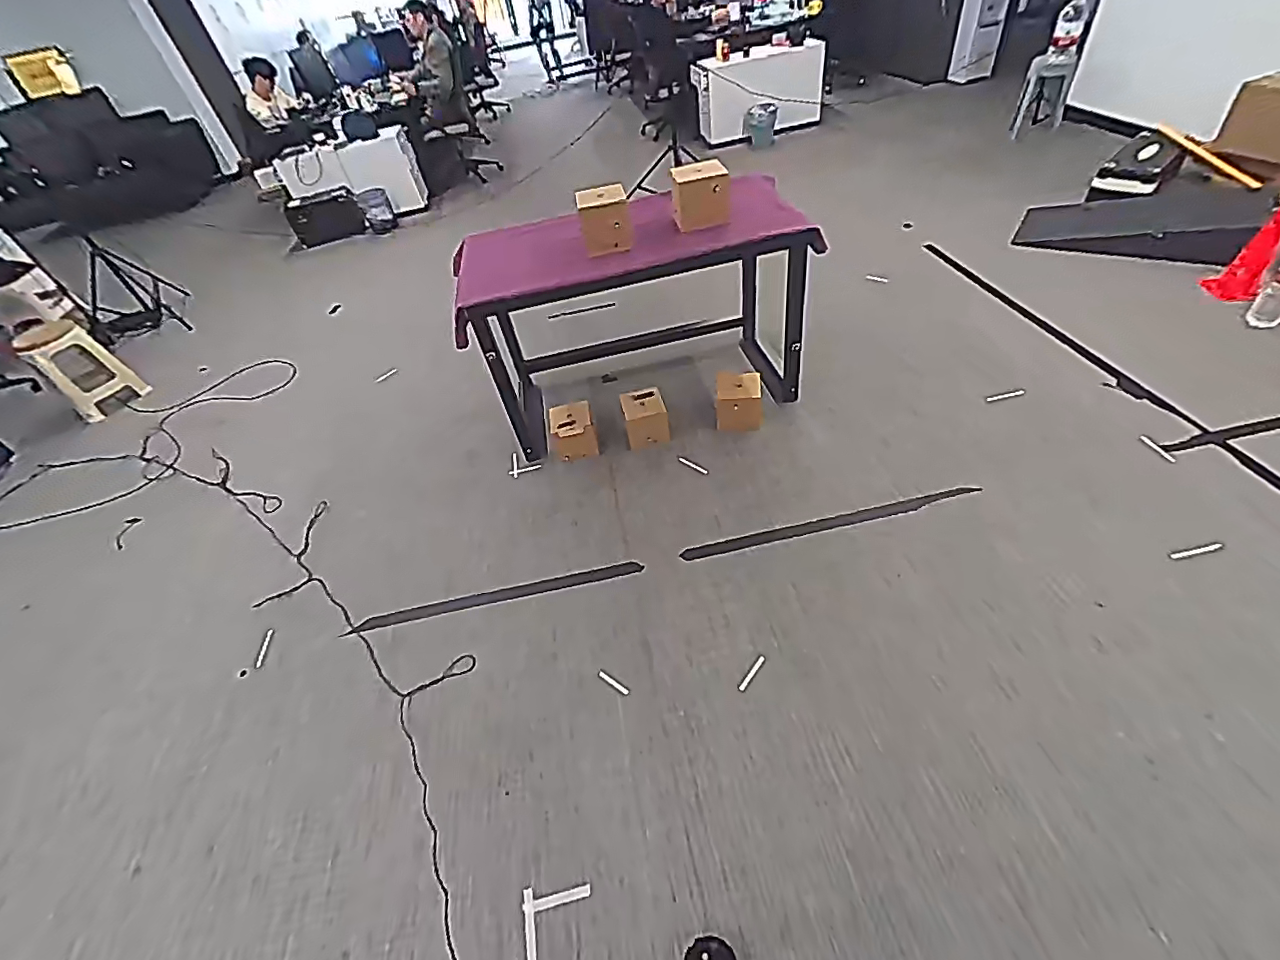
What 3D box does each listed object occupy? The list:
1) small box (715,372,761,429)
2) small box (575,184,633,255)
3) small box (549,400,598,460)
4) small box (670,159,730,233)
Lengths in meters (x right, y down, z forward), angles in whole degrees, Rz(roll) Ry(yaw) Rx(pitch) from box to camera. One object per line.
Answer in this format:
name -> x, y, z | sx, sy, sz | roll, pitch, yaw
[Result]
small box -> 0.406, -0.325, 2.233 | 0.179, 0.176, 0.168 | -2, 47, 12
small box -> -0.124, -0.892, 1.864 | 0.168, 0.176, 0.179 | -11, 43, -1
small box -> -0.275, -0.202, 2.249 | 0.168, 0.176, 0.179 | -12, 44, 0
small box -> 0.210, -0.991, 1.889 | 0.179, 0.176, 0.168 | -12, 44, 0
